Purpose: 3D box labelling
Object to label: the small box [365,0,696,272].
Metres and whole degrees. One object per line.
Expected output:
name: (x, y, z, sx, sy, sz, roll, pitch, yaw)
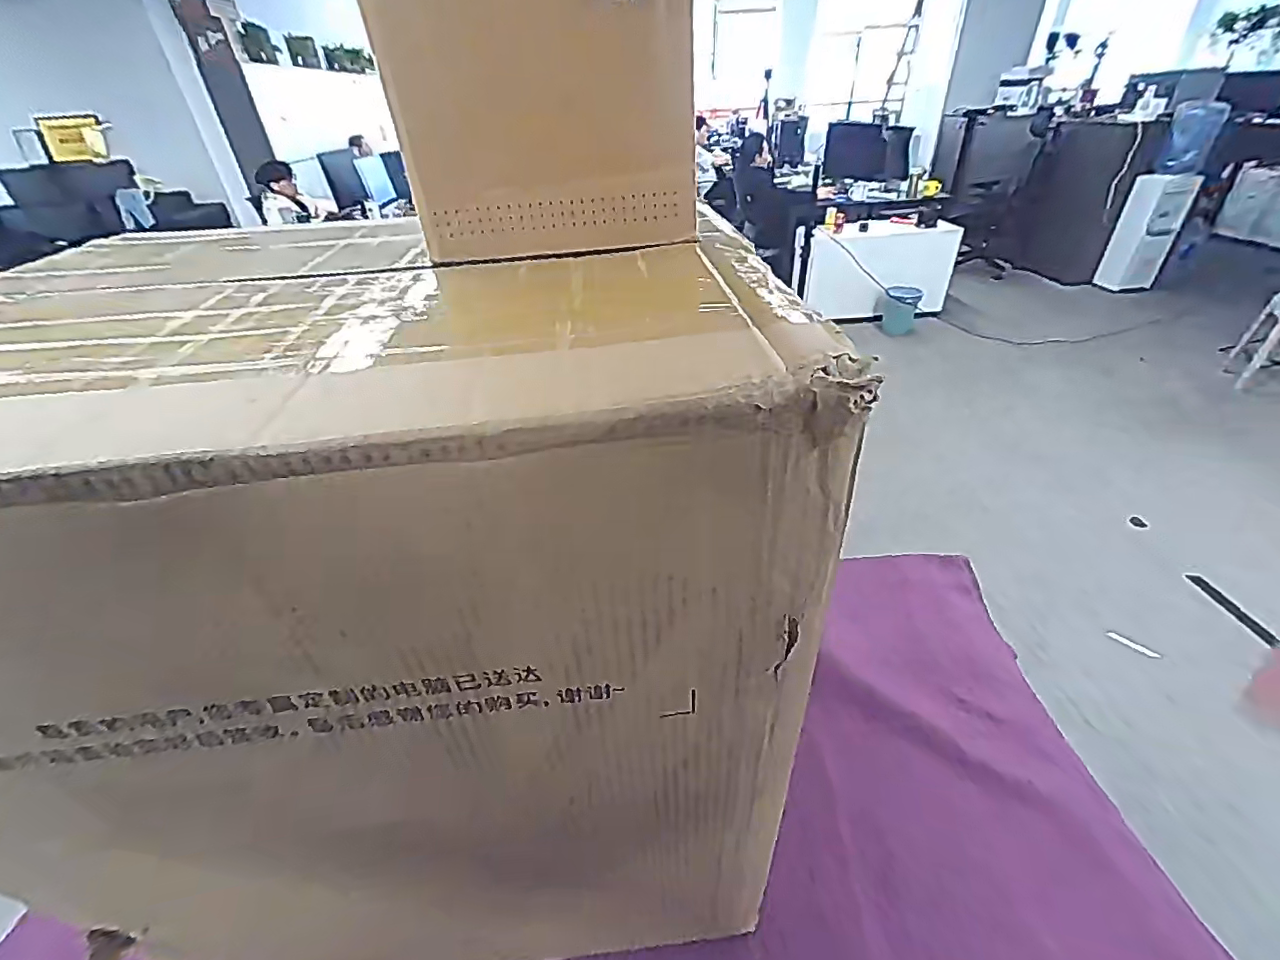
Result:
small box: (-0.060, -0.249, 0.369, 0.179, 0.176, 0.168, -5, 35, -2)
